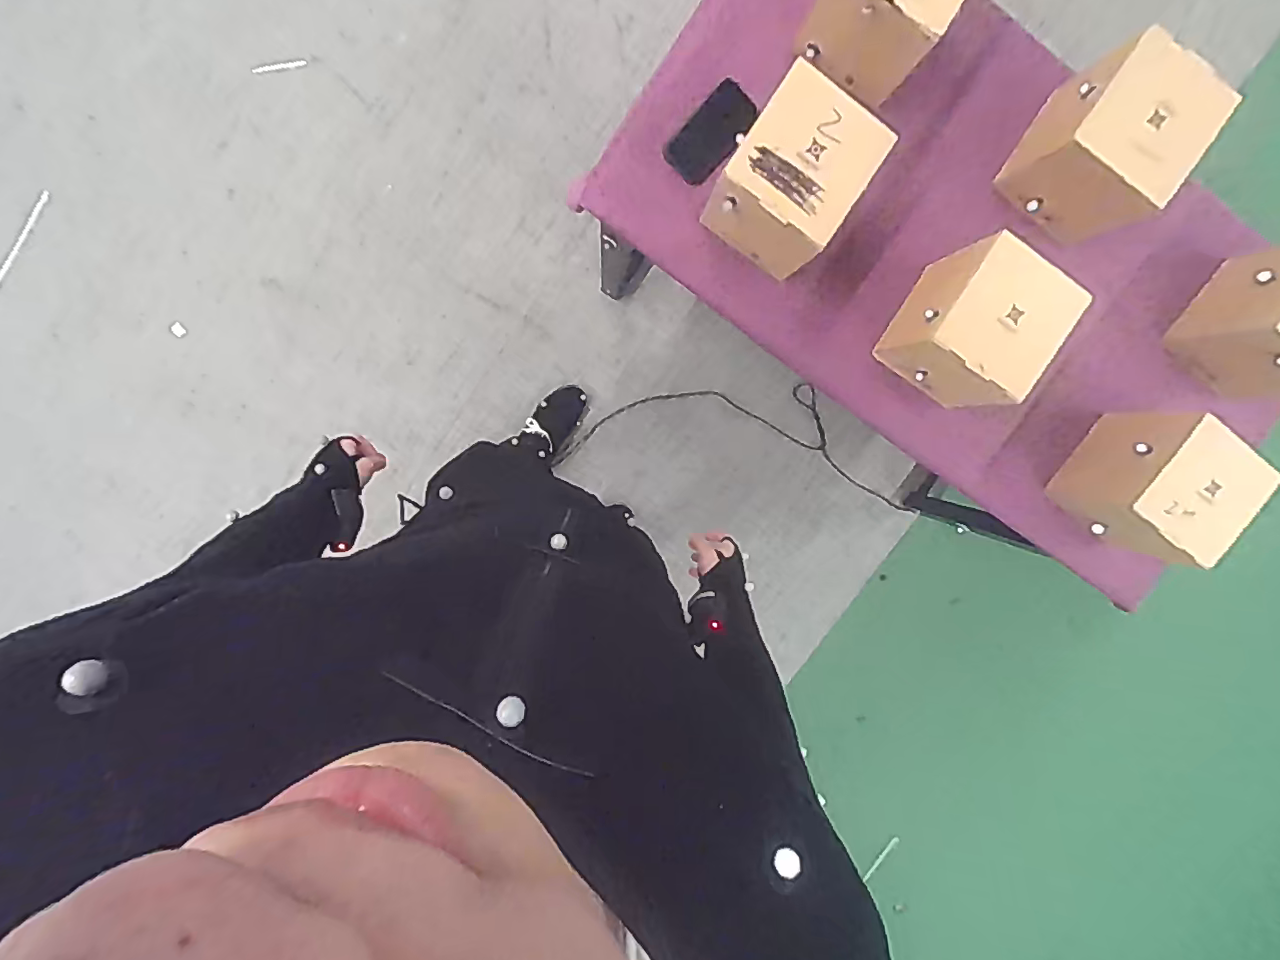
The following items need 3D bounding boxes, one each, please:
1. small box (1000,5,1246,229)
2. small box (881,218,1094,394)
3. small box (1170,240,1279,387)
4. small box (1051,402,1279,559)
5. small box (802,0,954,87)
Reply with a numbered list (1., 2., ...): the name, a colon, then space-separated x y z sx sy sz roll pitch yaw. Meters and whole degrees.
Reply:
1. small box: 0.681 -0.507 0.787 0.168 0.176 0.179 33 95 -7
2. small box: 0.502 -0.246 0.811 0.168 0.176 0.179 32 94 -8
3. small box: 1.008 -0.264 0.843 0.168 0.176 0.179 36 94 -7
4. small box: 0.820 -0.008 0.862 0.168 0.176 0.179 36 94 -7
5. small box: 0.345 -0.695 0.735 0.168 0.176 0.179 30 95 -8
